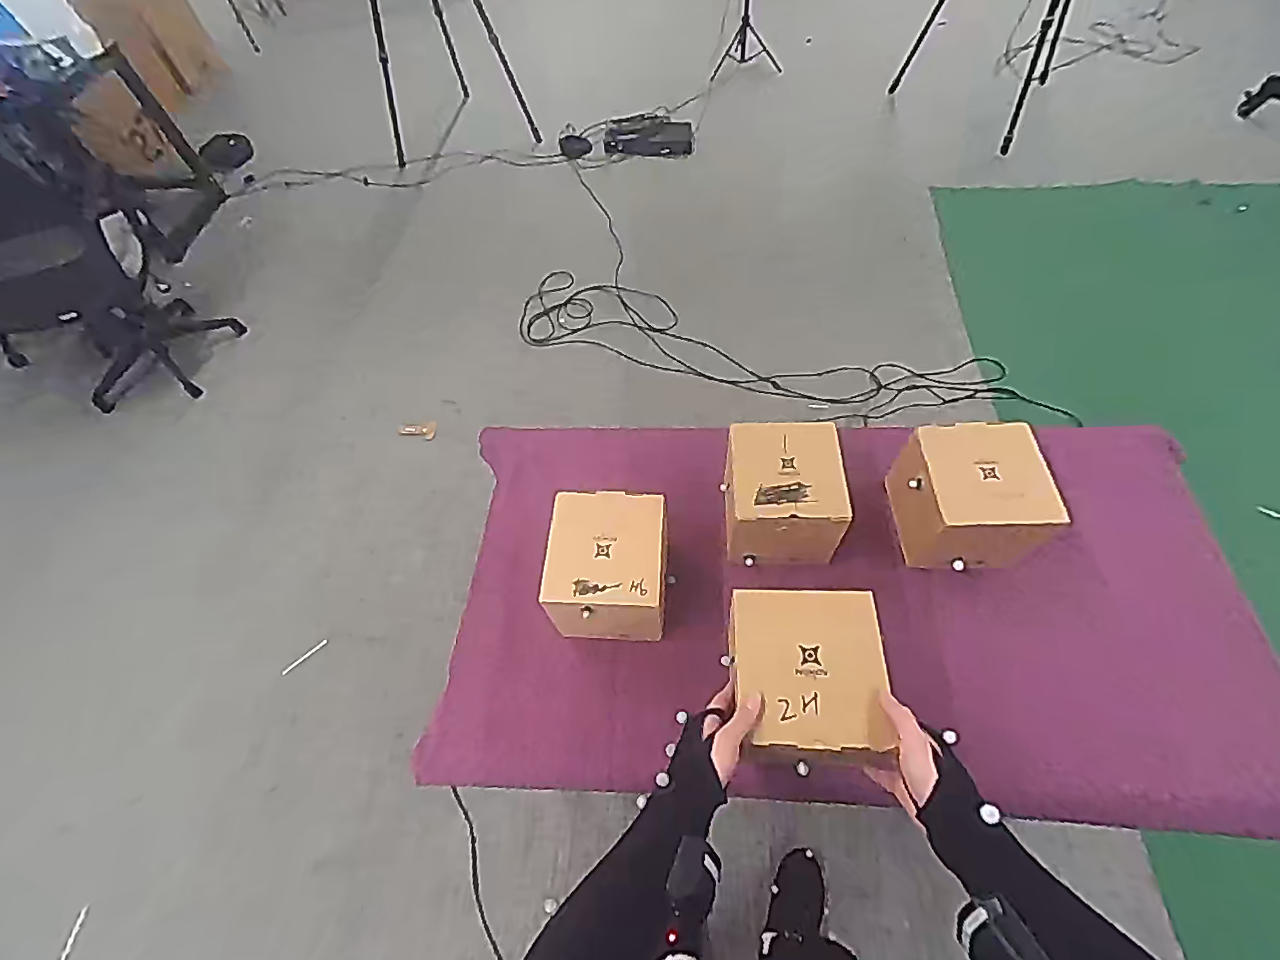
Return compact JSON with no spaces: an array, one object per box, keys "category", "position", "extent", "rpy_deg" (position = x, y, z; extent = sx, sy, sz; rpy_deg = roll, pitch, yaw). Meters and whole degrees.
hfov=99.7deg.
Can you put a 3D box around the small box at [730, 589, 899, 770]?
[{"category":"small box","position":[0.200,0.252,0.677],"extent":[0.168,0.176,0.179],"rpy_deg":[0,57,7]}]

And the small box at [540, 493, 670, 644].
[{"category":"small box","position":[-0.042,0.139,0.835],"extent":[0.168,0.176,0.179],"rpy_deg":[1,57,7]}]

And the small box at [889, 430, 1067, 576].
[{"category":"small box","position":[0.514,0.039,0.857],"extent":[0.168,0.176,0.179],"rpy_deg":[-1,58,5]}]

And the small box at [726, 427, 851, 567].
[{"category":"small box","position":[0.230,0.032,0.883],"extent":[0.168,0.176,0.179],"rpy_deg":[0,57,5]}]
